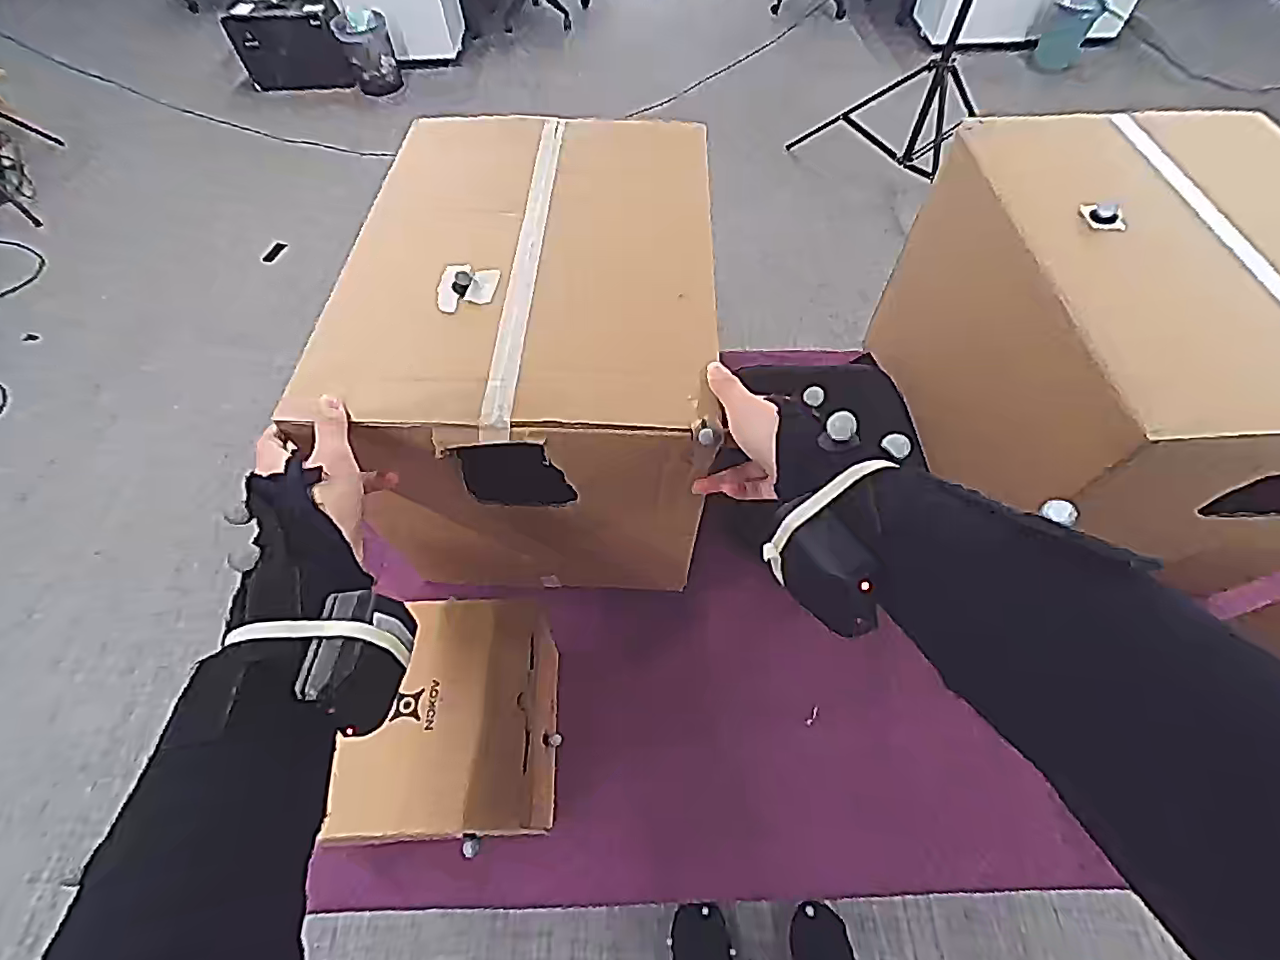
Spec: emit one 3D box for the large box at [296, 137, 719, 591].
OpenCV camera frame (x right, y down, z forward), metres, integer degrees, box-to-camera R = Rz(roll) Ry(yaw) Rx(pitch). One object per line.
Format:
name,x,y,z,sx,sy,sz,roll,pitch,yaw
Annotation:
large box,-0.095,-0.116,0.611,0.320,0.320,0.408,1,60,1

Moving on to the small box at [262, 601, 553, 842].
small box,-0.177,0.218,0.480,0.179,0.176,0.168,-2,57,-3
